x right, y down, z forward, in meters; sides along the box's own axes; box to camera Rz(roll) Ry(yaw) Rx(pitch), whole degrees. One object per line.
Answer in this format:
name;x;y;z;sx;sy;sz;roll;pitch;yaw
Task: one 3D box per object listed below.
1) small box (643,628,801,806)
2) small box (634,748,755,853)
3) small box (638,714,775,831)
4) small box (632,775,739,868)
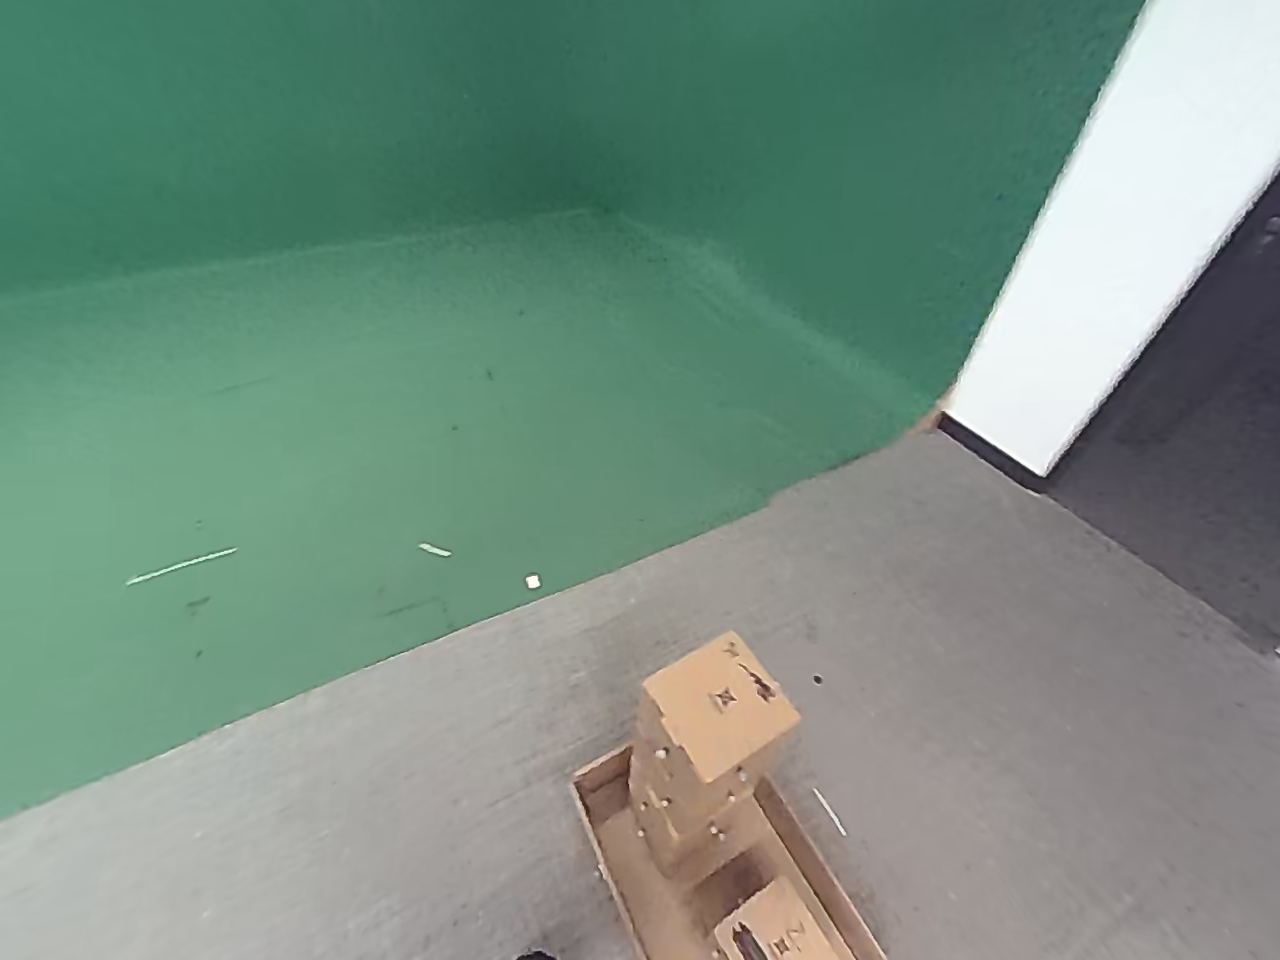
small box;0.118;0.373;0.846;0.179;0.176;0.168;-22;52;-21
small box;0.099;0.603;1.078;0.179;0.176;0.168;-20;50;-20
small box;0.109;0.486;0.963;0.179;0.176;0.168;-21;51;-22
small box;0.092;0.717;1.194;0.179;0.176;0.168;-19;49;-20
